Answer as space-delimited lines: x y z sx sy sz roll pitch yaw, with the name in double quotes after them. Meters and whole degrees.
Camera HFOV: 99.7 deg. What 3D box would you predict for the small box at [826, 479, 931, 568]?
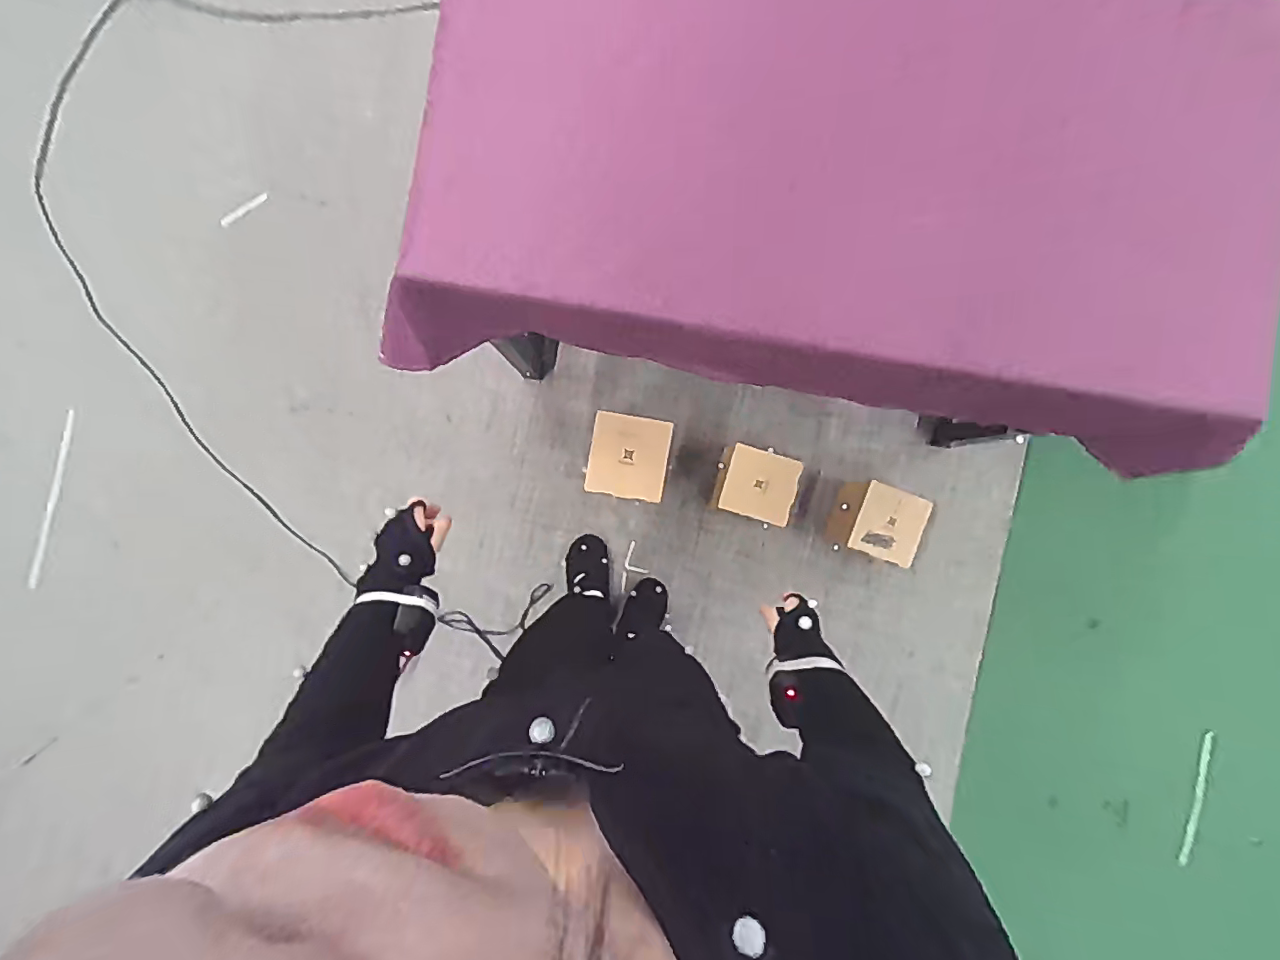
0.598 0.107 1.386 0.168 0.176 0.179 21 88 -1 "small box"
